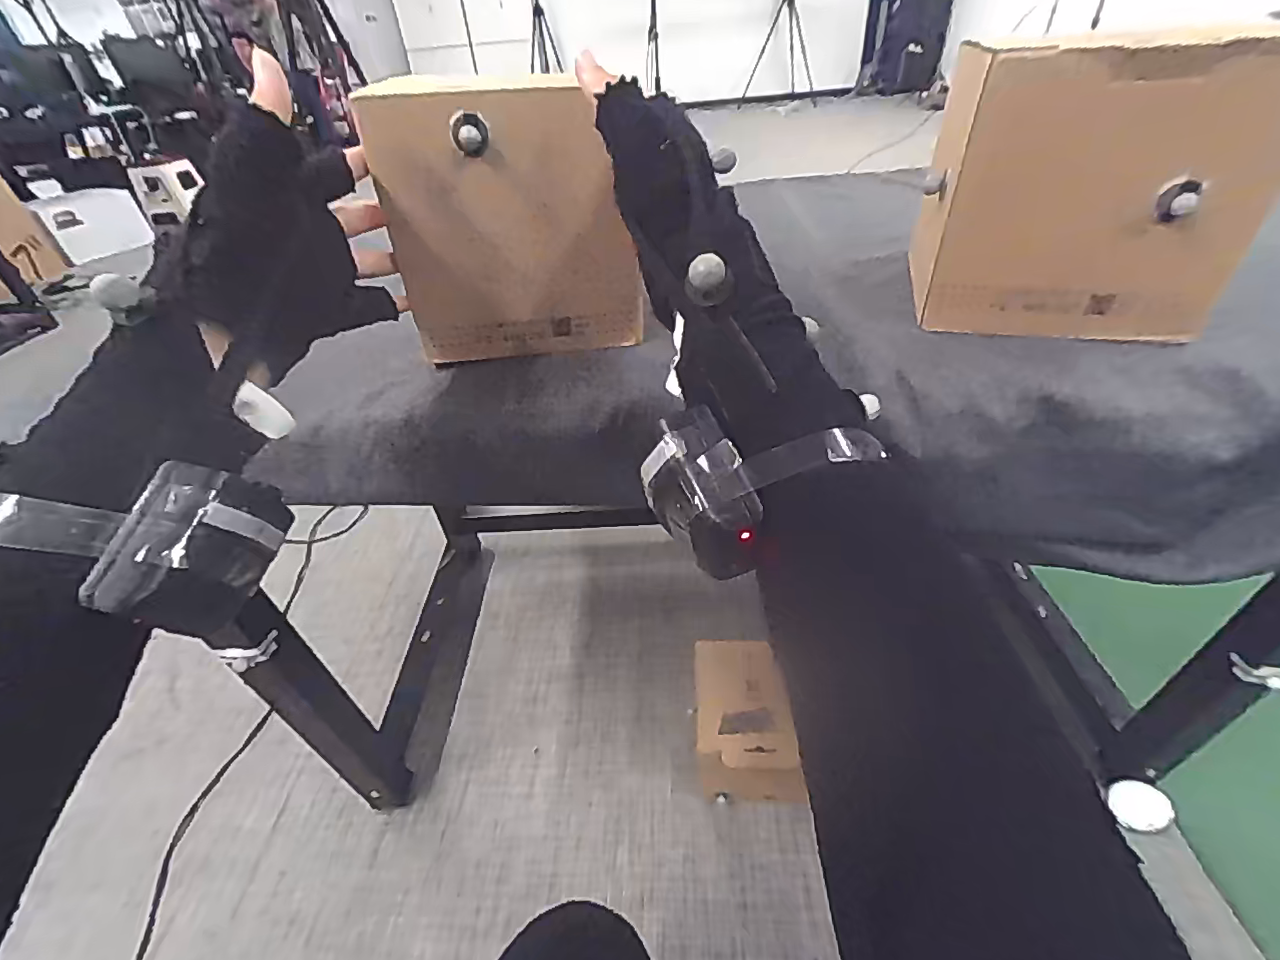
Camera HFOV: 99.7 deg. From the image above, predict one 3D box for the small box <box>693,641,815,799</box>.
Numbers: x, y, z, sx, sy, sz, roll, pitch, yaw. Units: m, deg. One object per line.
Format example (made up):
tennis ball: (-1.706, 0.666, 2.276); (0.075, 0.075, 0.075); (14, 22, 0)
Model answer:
small box: (0.168, 0.374, 0.844); (0.168, 0.176, 0.179); (-2, 38, 5)

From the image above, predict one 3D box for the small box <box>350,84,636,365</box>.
small box: (-0.095, -0.207, 0.430); (0.168, 0.176, 0.179); (-7, 38, -5)

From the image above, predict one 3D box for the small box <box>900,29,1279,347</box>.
small box: (0.298, -0.209, 0.393); (0.168, 0.176, 0.179); (9, 40, 16)
